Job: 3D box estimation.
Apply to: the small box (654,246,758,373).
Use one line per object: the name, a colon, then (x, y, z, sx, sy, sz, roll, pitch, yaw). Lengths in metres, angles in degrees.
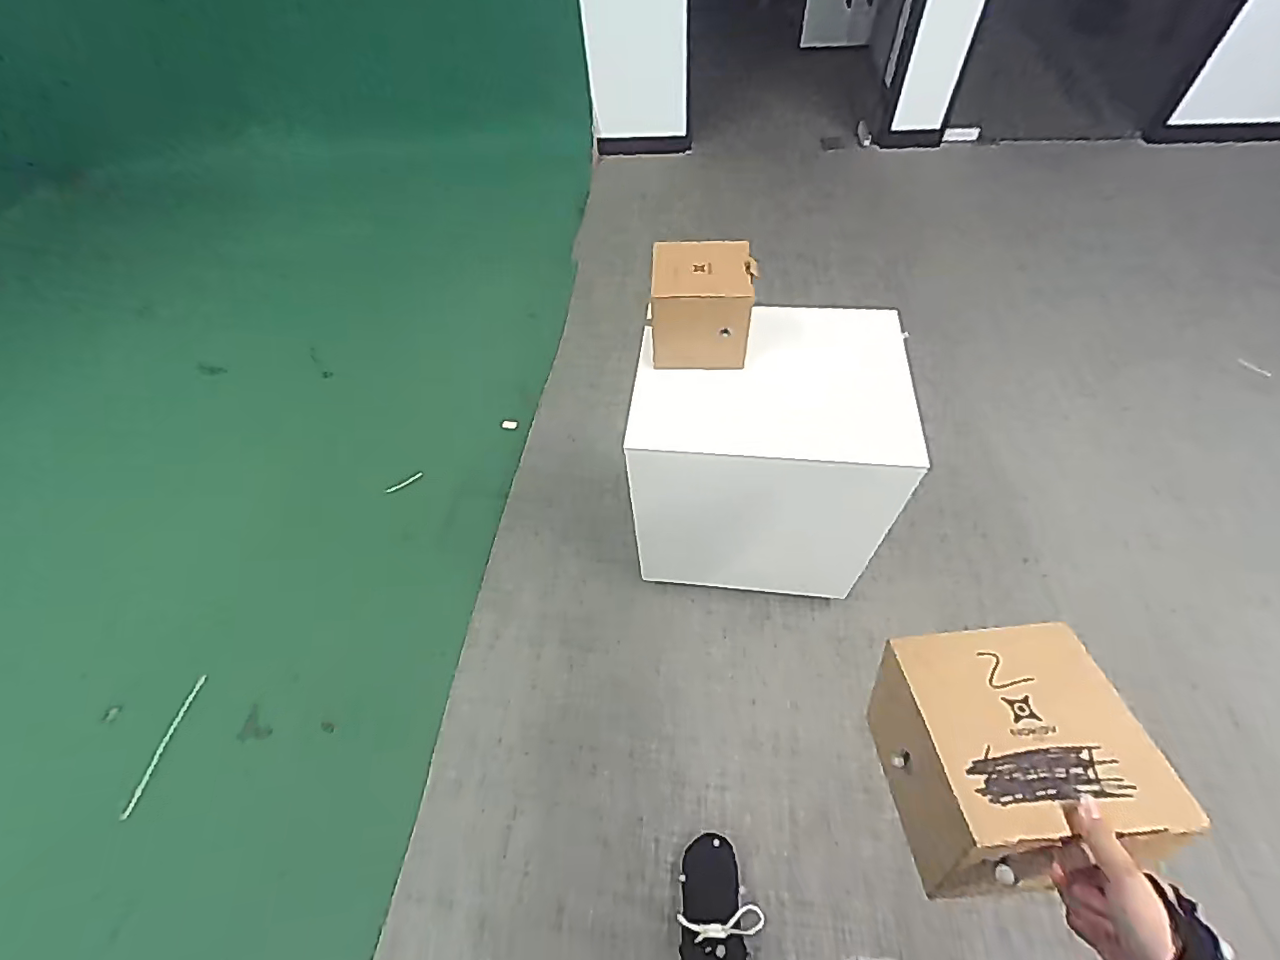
small box: (0.119, -0.316, 1.014, 0.179, 0.176, 0.168, 0, 54, 5)
